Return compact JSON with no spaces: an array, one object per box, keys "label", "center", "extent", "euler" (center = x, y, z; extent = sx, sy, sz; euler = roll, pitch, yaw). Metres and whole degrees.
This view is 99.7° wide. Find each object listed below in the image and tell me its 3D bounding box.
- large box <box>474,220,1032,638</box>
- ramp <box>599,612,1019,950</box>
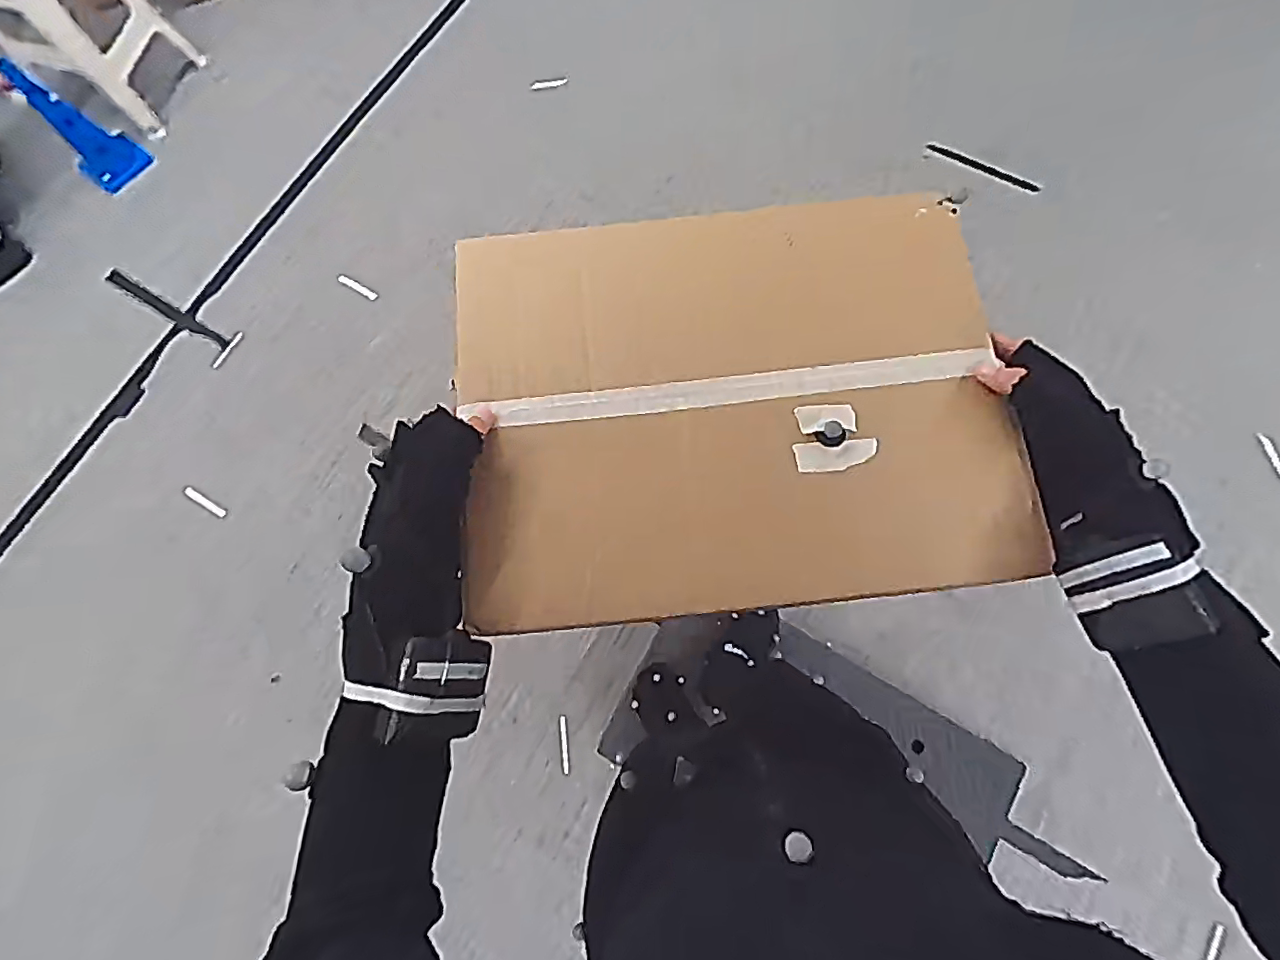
[{"label":"large box","center":[0.072,-0.017,0.567],"extent":[0.408,0.320,0.320],"euler":[-6,76,0]},{"label":"ramp","center":[0.442,0.681,1.335],"extent":[0.991,0.206,0.509],"euler":[27,77,7]}]
